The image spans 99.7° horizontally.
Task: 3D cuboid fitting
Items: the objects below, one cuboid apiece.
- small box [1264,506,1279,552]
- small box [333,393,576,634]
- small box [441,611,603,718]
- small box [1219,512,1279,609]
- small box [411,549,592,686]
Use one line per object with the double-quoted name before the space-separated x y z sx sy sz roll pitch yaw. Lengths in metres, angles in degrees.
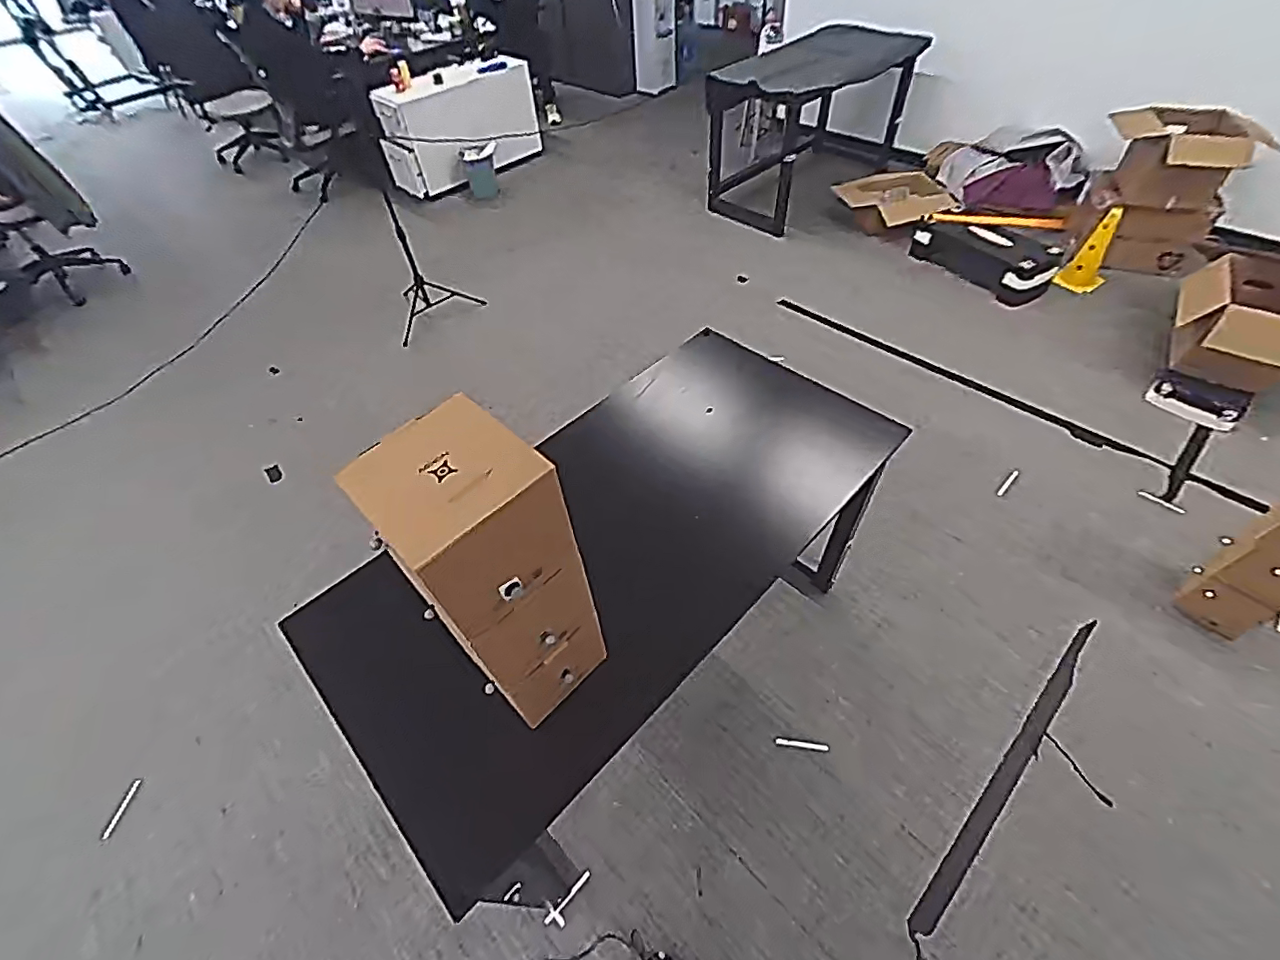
"small box" 1.734 0.112 1.345 0.179 0.176 0.168 -37 58 -23
"small box" -0.195 0.039 0.607 0.179 0.176 0.168 35 62 28
"small box" -0.176 0.250 0.858 0.179 0.176 0.168 35 60 28
"small box" 1.745 0.224 1.462 0.168 0.176 0.179 -38 59 -25
"small box" -0.186 0.143 0.732 0.179 0.176 0.168 35 62 28
